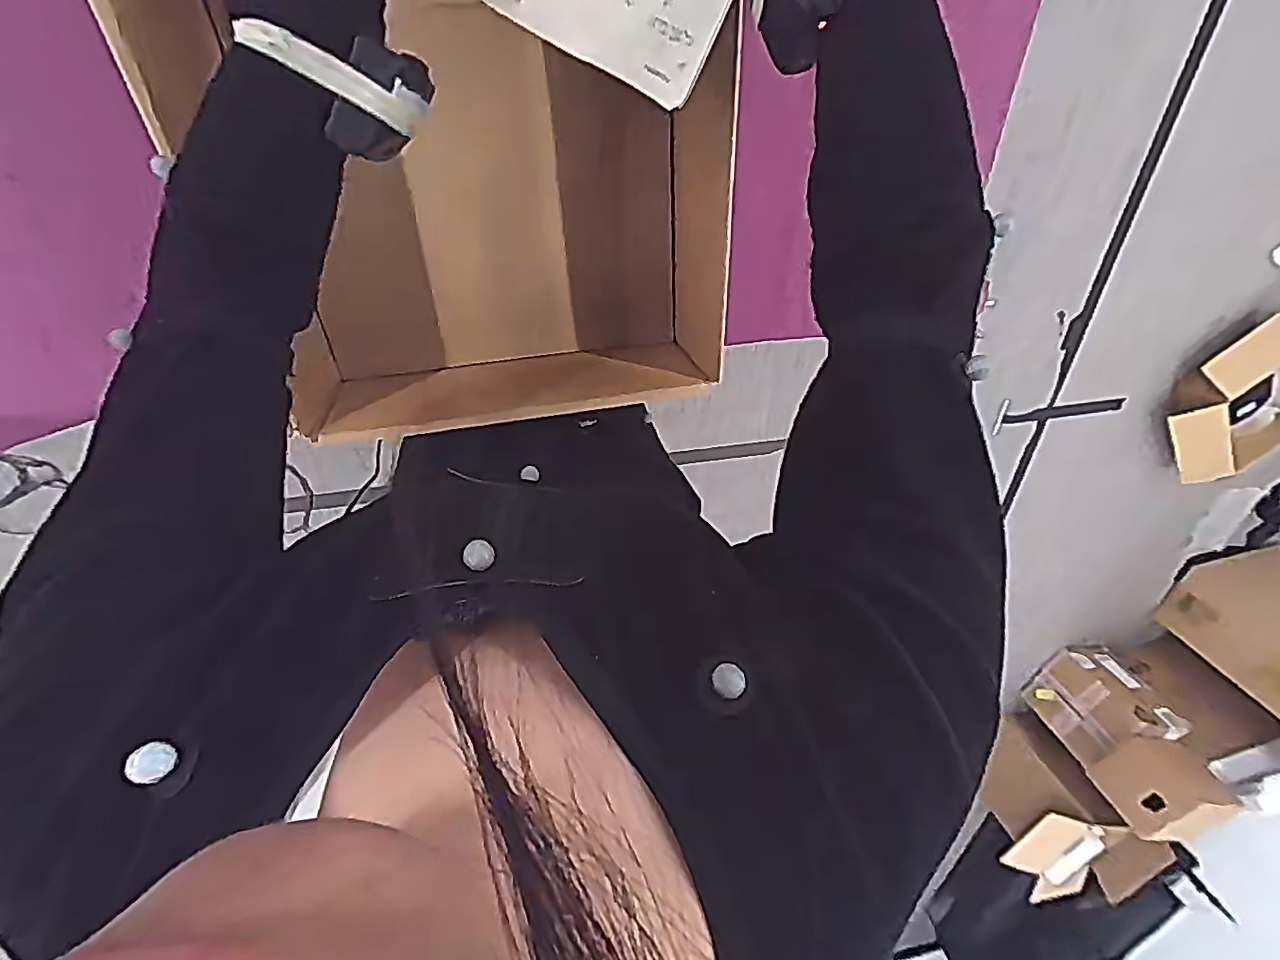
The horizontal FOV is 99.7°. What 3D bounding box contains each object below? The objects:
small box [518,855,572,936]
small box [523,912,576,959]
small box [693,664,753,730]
[{"bbox_3d":[-0.337,1.467,1.911,0.179,0.176,0.168,-6,126,-13],"label":"small box"},{"bbox_3d":[-0.298,1.569,1.786,0.168,0.176,0.179,-4,125,-13],"label":"small box"},{"bbox_3d":[0.343,0.920,2.296,0.168,0.176,0.179,35,111,-31],"label":"small box"}]
